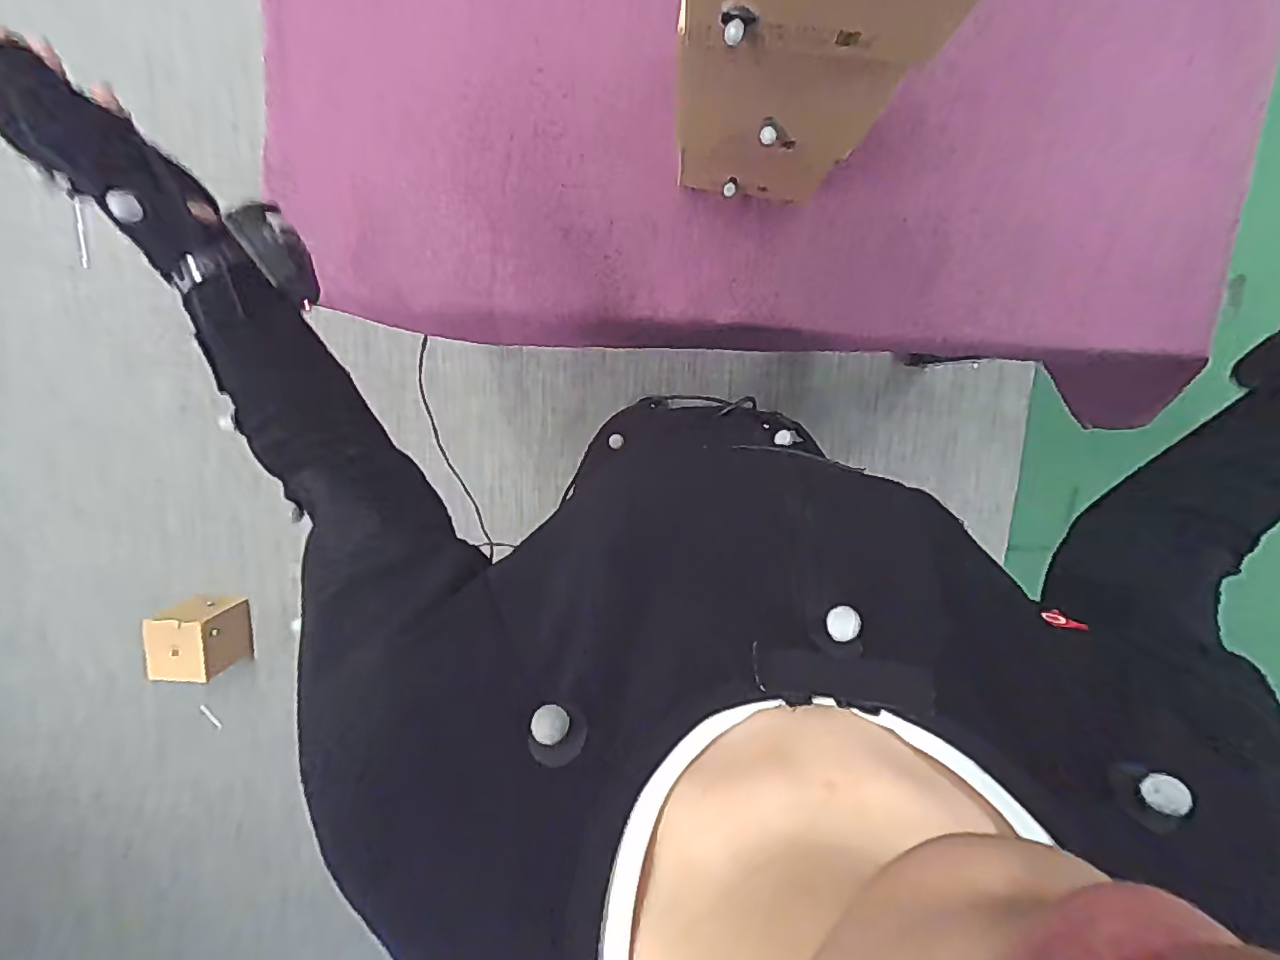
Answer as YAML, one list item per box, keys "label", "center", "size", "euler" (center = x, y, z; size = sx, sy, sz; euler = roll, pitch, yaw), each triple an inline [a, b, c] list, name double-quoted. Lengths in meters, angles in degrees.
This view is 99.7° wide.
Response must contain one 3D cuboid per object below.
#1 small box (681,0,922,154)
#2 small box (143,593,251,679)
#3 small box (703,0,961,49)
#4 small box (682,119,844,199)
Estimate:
- label: "small box"
  center: [0.123, -0.396, 0.429]
  size: [0.168, 0.176, 0.179]
  euler: [7, 99, 3]
- label: "small box"
  center: [-1.238, 0.436, 1.525]
  size: [0.168, 0.176, 0.179]
  euler: [3, 99, 2]
- label: "small box"
  center: [0.117, -0.361, 0.269]
  size: [0.168, 0.176, 0.179]
  euler: [7, 98, 2]
- label: "small box"
  center: [0.138, -0.436, 0.588]
  size: [0.168, 0.176, 0.179]
  euler: [8, 100, 2]
